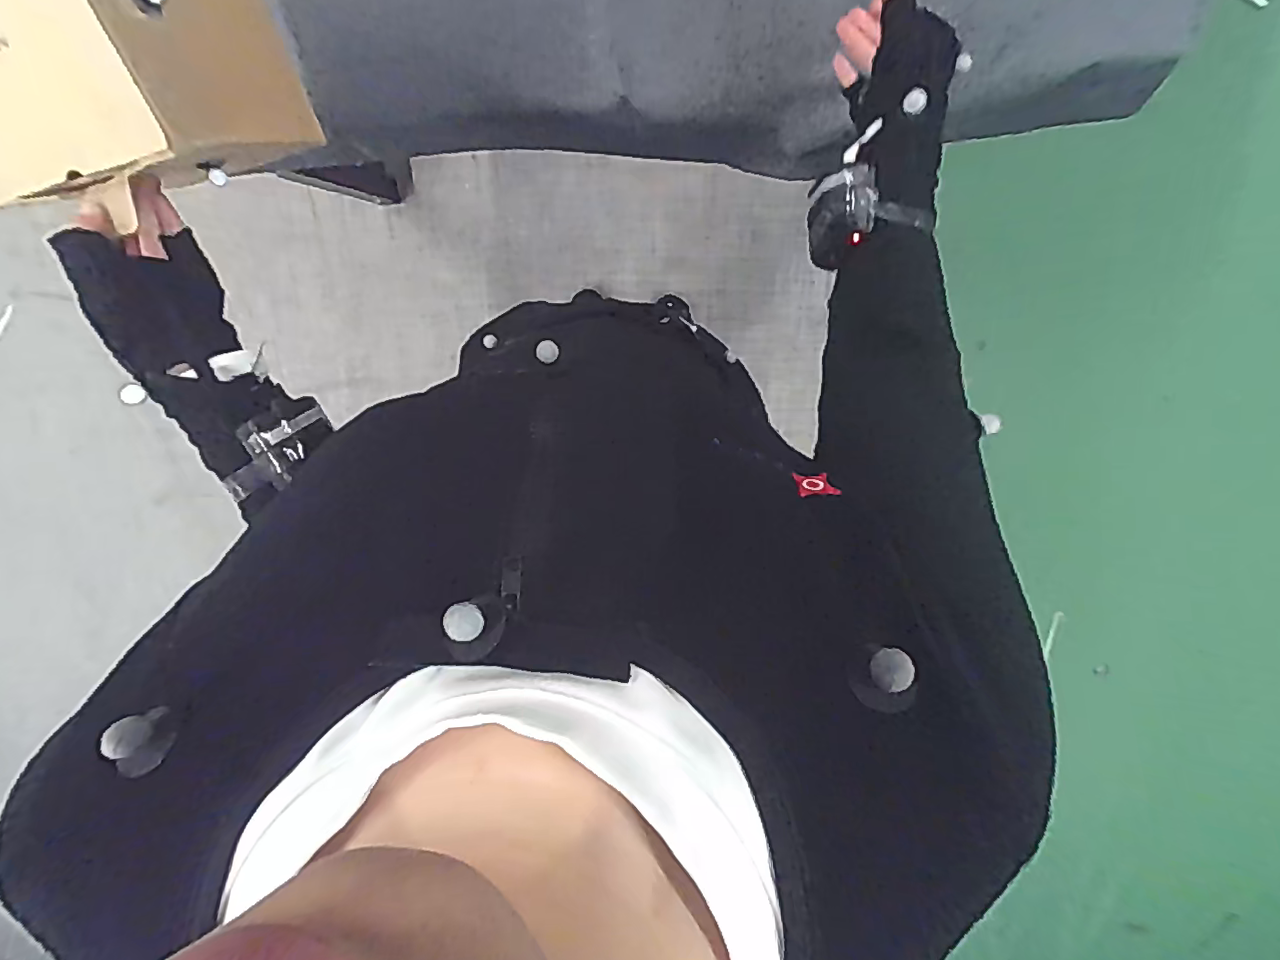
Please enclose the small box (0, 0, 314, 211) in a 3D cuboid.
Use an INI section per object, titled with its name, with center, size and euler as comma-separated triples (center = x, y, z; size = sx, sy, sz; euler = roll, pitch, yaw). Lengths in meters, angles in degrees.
[small box]
center = -0.376, -0.308, 0.374
size = 0.168, 0.176, 0.179
euler = -8, 121, 12
